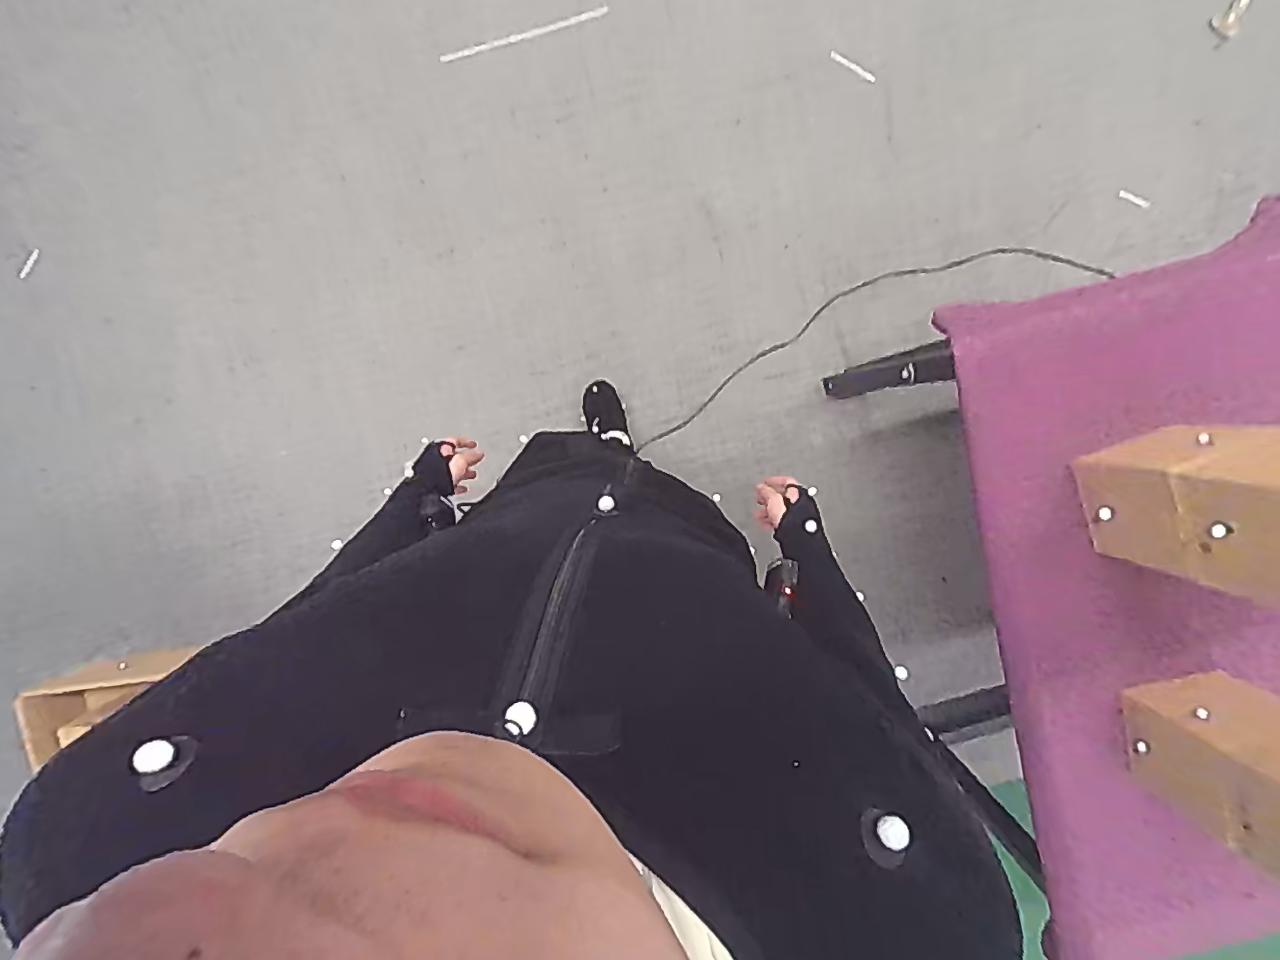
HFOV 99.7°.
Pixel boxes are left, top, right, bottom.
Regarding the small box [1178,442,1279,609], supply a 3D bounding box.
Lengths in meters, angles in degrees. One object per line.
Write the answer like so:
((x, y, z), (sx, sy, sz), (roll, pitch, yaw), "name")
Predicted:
((0.820, 0.051, 0.645), (0.179, 0.176, 0.168), (-22, 96, 3), "small box")

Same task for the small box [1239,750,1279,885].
((0.928, 0.462, 0.687), (0.179, 0.176, 0.168), (-13, 96, 2), "small box")

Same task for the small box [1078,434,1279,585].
((0.817, 0.032, 0.806), (0.179, 0.176, 0.168), (-19, 95, 3), "small box")
